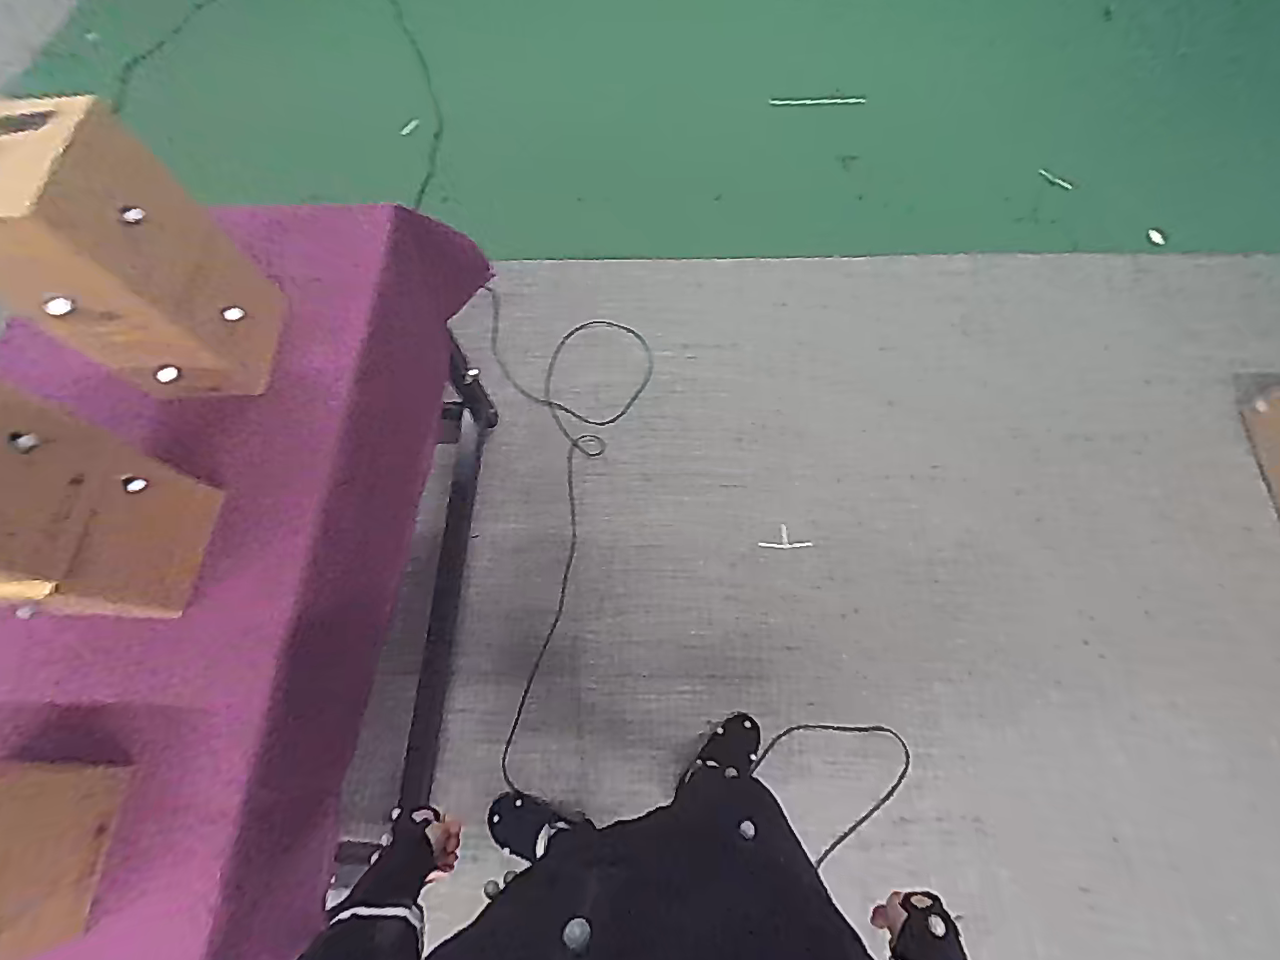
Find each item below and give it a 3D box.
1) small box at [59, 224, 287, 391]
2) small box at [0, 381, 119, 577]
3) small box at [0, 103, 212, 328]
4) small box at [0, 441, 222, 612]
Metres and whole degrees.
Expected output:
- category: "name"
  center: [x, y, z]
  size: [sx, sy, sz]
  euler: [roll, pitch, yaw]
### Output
- category: "small box"
  center: [-0.658, -0.240, 0.790]
  size: [0.168, 0.176, 0.179]
  euler: [-2, 68, 1]
- category: "small box"
  center: [-0.679, -0.006, 0.521]
  size: [0.179, 0.176, 0.168]
  euler: [0, 66, 3]
- category: "small box"
  center: [-0.660, -0.302, 0.637]
  size: [0.168, 0.176, 0.179]
  euler: [-1, 68, 2]
- category: "small box"
  center: [-0.673, 0.063, 0.668]
  size: [0.168, 0.176, 0.179]
  euler: [1, 67, 3]
